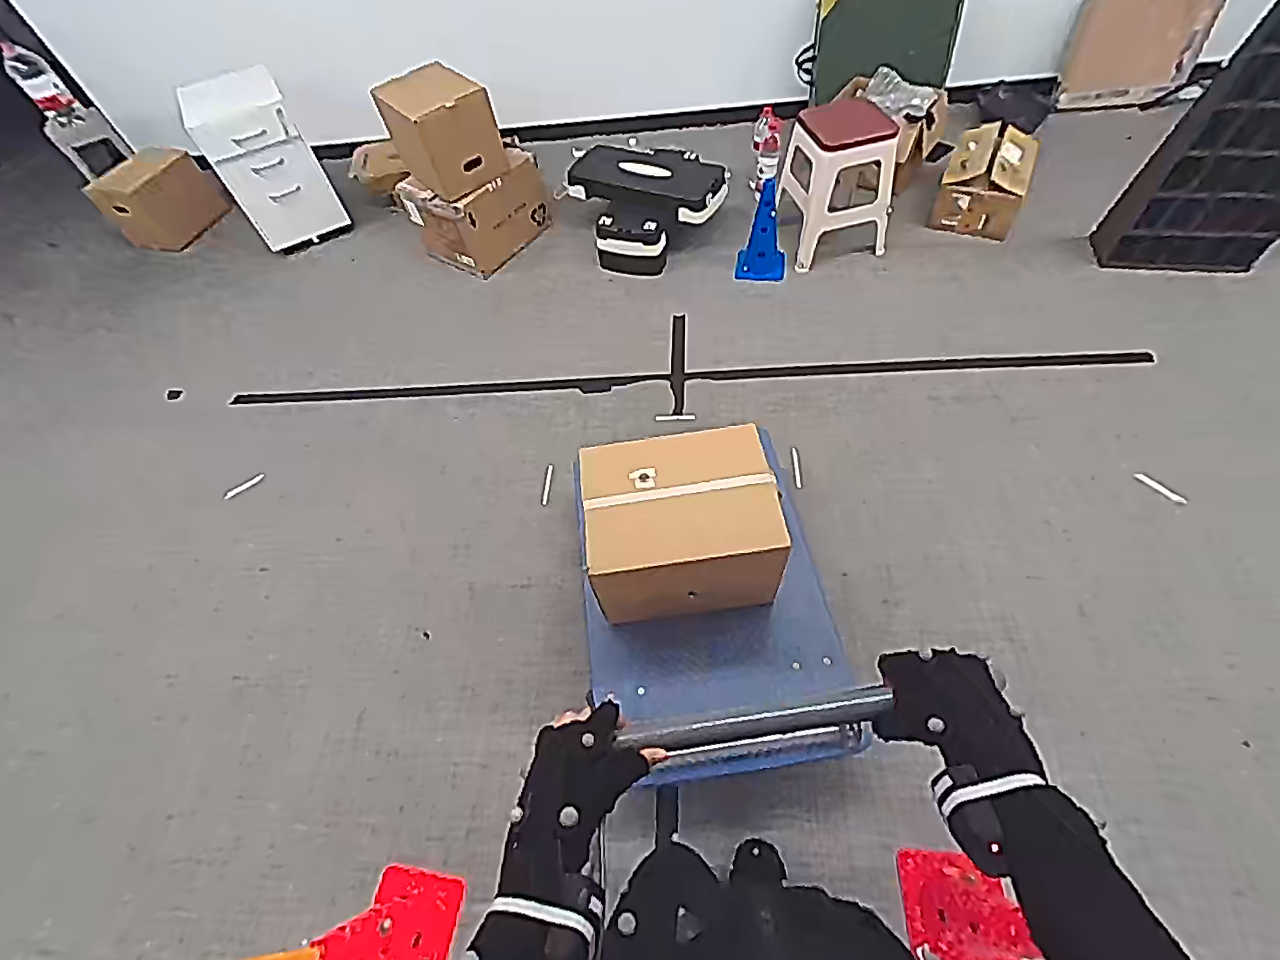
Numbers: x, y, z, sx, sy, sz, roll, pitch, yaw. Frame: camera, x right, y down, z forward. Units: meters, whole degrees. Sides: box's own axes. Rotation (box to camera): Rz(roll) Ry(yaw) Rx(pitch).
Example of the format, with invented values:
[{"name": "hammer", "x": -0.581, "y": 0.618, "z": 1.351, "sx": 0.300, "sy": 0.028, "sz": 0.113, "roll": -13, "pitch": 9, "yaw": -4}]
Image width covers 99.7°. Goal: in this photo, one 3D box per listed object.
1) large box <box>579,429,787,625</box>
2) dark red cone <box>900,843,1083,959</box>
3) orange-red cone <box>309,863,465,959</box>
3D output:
[{"name": "large box", "x": 0.091, "y": 0.121, "z": 1.263, "sx": 0.408, "sy": 0.320, "sz": 0.320, "roll": -9, "pitch": 57, "yaw": 1}, {"name": "dark red cone", "x": 0.622, "y": 0.752, "z": 0.931, "sx": 0.201, "sy": 0.394, "sz": 0.202, "roll": 0, "pitch": 57, "yaw": 4}, {"name": "orange-red cone", "x": -0.504, "y": 0.856, "z": 1.015, "sx": 0.198, "sy": 0.360, "sz": 0.199, "roll": 6, "pitch": 56, "yaw": 9}]
